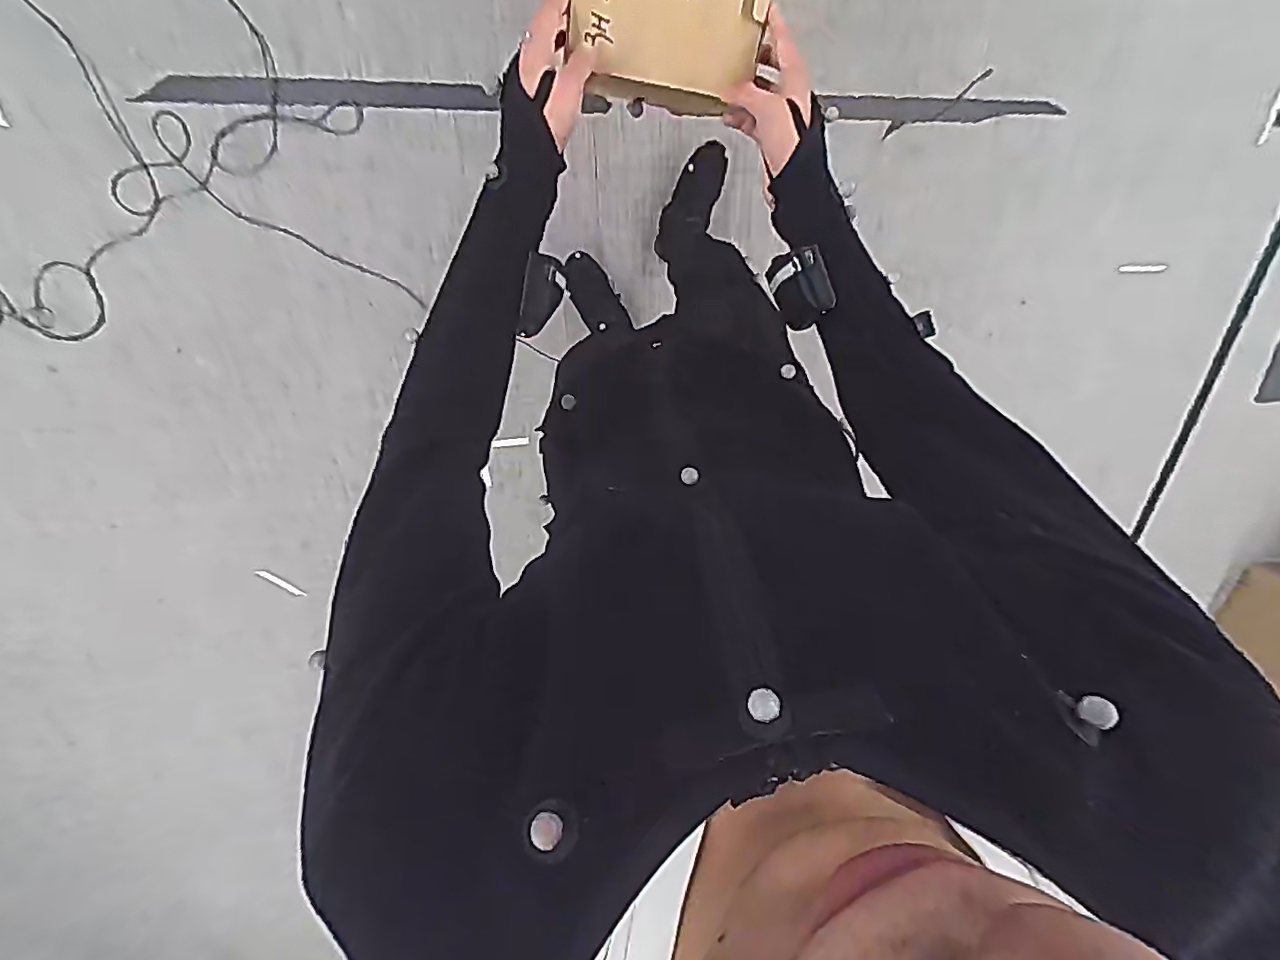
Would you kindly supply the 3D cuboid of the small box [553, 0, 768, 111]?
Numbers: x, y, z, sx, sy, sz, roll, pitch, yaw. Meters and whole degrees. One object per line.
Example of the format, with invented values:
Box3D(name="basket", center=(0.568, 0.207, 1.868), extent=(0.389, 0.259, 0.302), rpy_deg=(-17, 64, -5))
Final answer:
Box3D(name="small box", center=(0.015, -0.470, 0.520), extent=(0.179, 0.176, 0.168), rpy_deg=(3, 119, -14))
